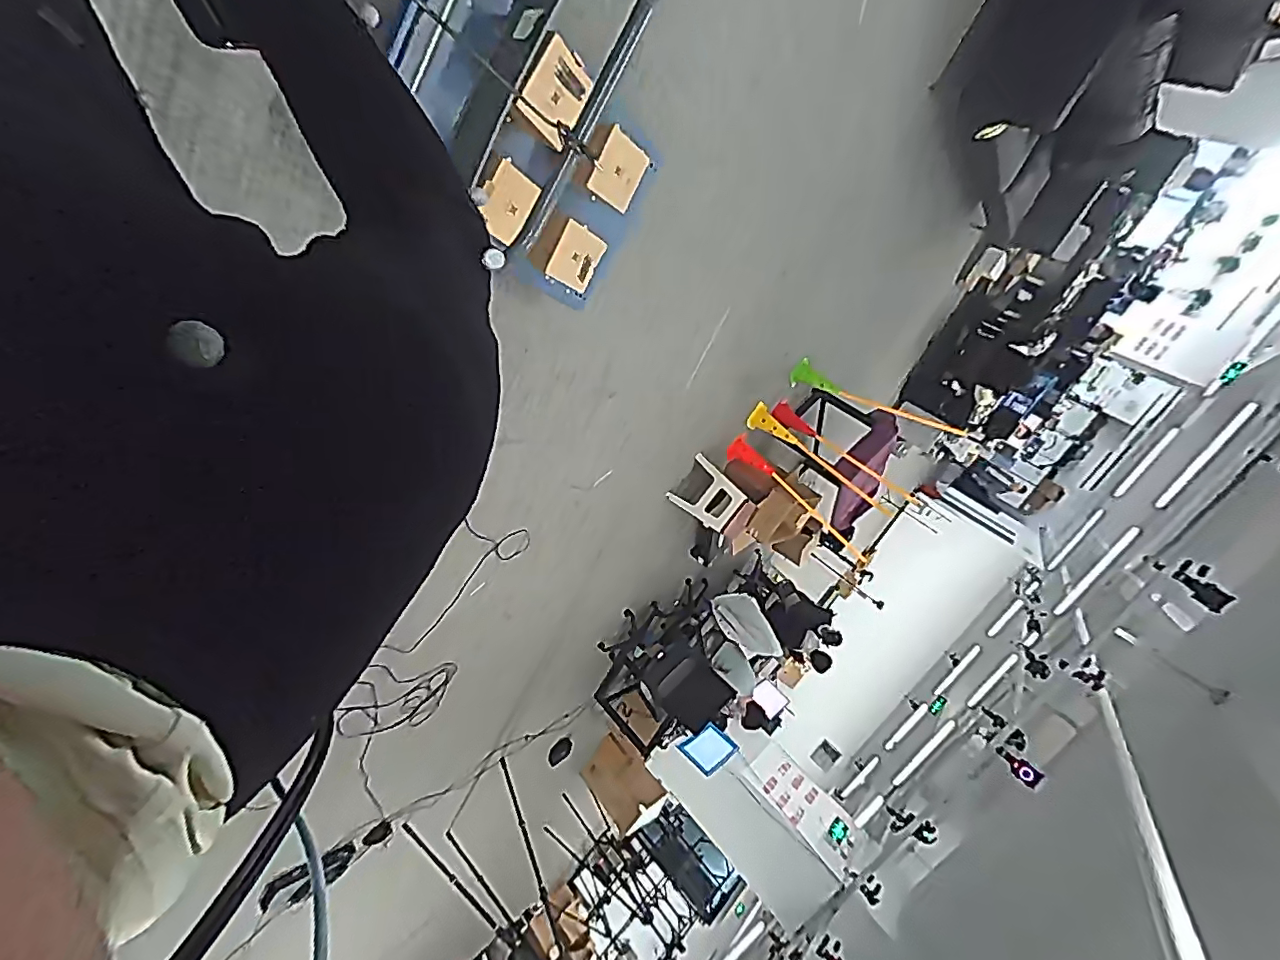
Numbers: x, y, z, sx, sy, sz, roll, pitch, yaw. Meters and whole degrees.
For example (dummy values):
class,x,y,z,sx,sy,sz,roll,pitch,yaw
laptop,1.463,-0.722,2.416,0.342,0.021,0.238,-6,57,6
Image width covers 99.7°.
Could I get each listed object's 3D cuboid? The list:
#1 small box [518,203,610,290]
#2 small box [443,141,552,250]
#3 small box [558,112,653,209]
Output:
class,x,y,z,sx,sy,sz,roll,pitch,yaw
small box,-0.229,-0.701,1.614,0.179,0.176,0.168,7,118,-56
small box,-0.367,-0.733,1.391,0.179,0.176,0.168,12,115,-57
small box,-0.102,-0.913,1.543,0.179,0.176,0.168,4,122,-55
